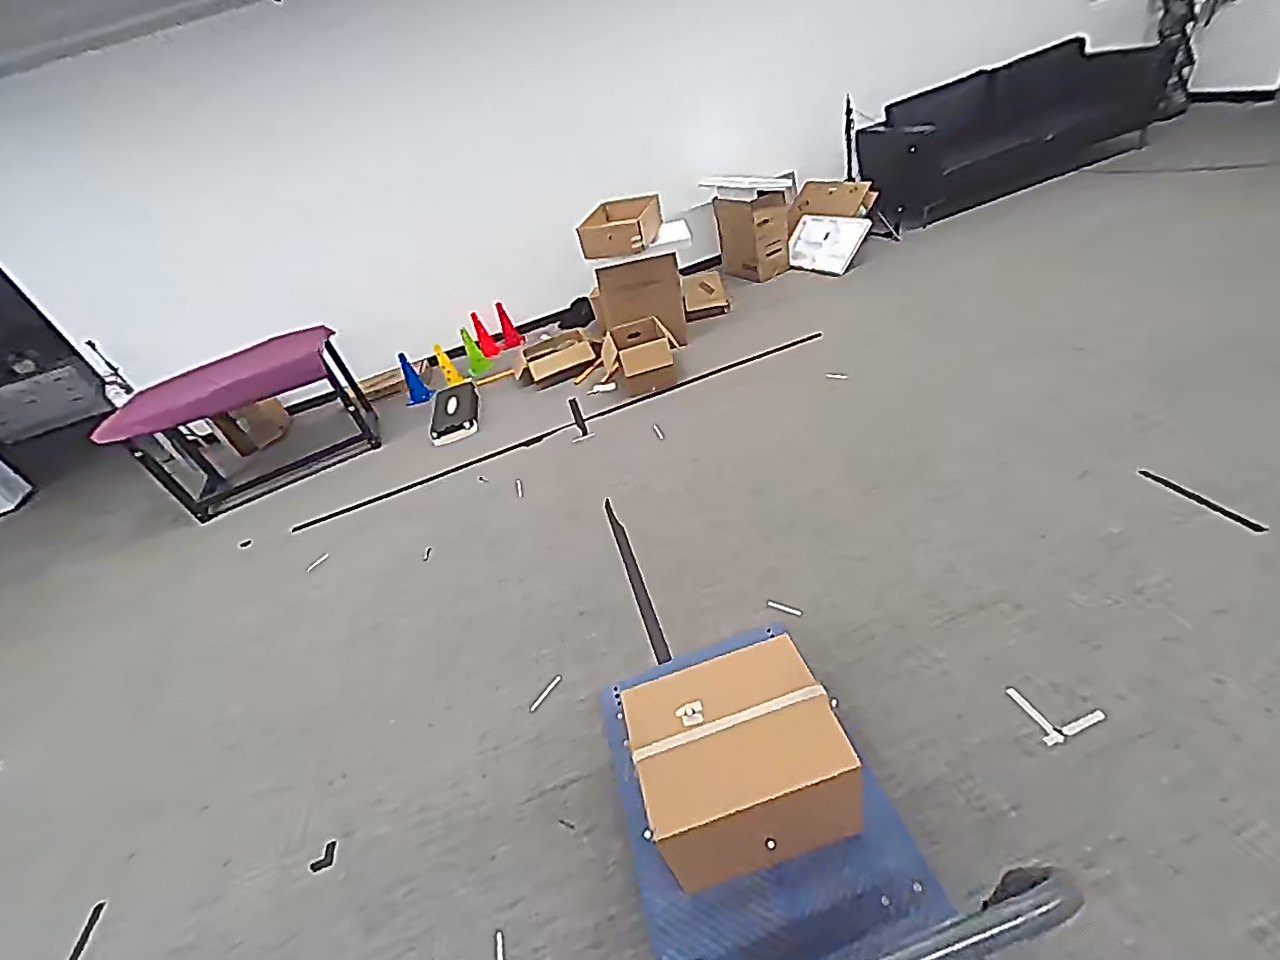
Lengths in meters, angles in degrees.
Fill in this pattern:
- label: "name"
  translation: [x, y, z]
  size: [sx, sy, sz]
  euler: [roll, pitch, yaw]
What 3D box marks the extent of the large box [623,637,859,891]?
- label: "large box"
  translation: [0.218, 0.620, 1.192]
  size: [0.408, 0.320, 0.320]
  euler: [-20, 35, -1]
